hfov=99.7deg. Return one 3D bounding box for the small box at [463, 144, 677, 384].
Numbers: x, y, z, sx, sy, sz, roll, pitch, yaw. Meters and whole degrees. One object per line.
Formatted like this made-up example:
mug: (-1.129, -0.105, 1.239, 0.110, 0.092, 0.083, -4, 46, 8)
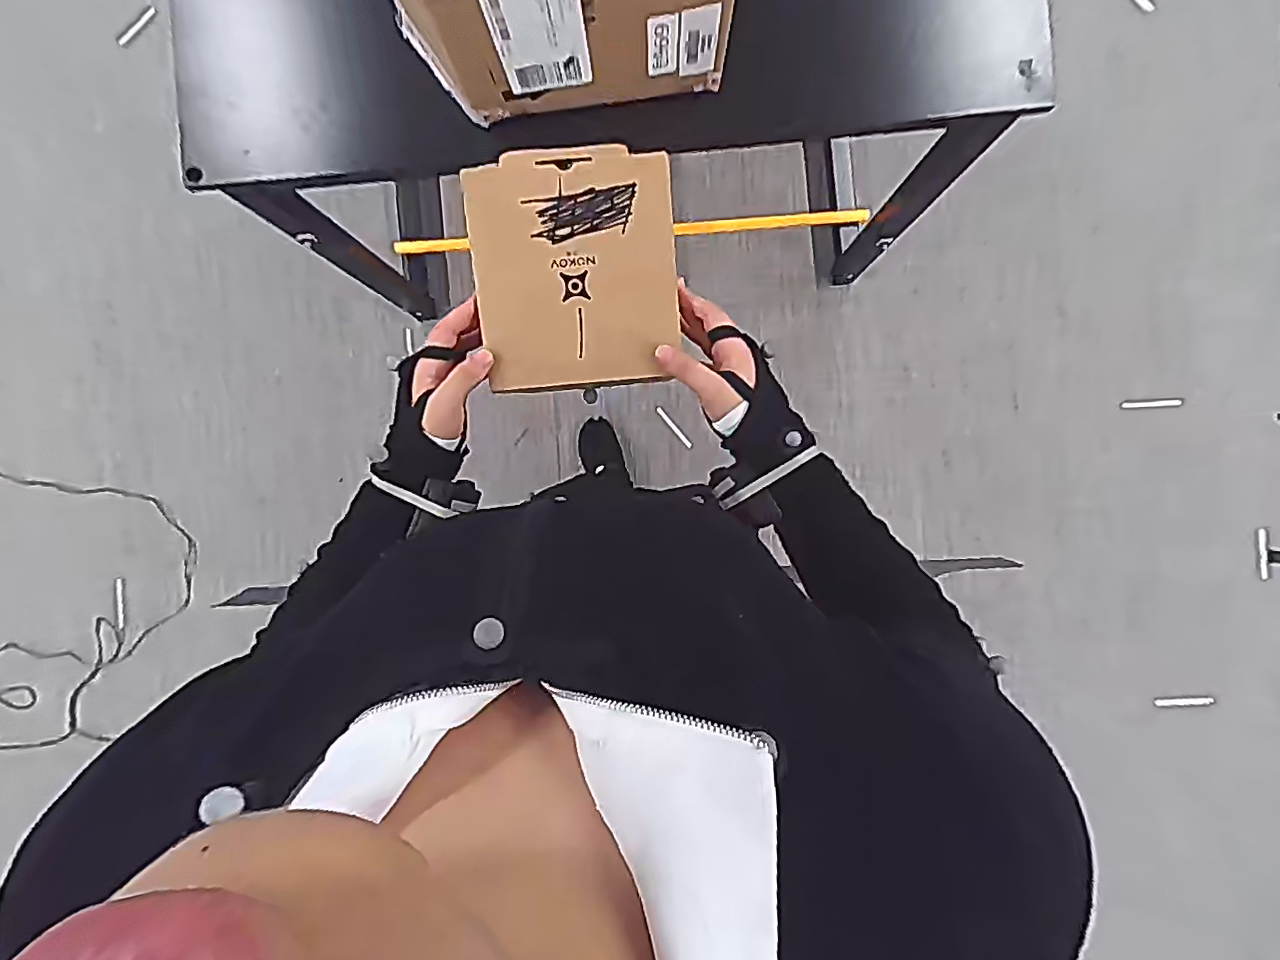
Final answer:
small box: (-0.057, -0.188, 0.520, 0.168, 0.176, 0.179, -5, 99, 0)
